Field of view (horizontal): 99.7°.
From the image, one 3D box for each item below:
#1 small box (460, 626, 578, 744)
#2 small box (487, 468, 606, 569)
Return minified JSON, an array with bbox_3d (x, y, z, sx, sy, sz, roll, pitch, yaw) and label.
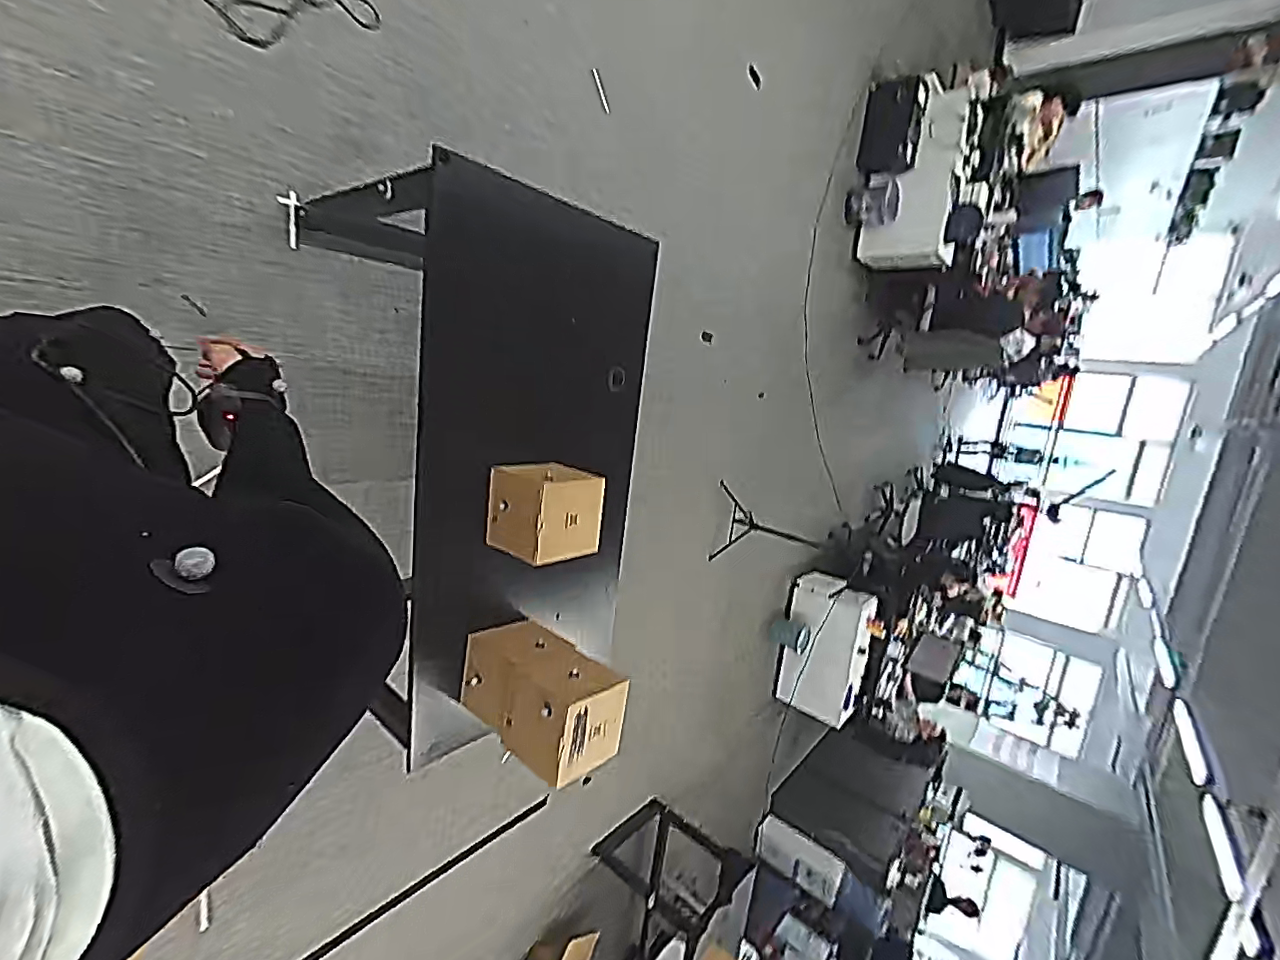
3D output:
[{"bbox_3d":[-0.265,0.437,1.189,0.179,0.176,0.168,2,100,-51],"label":"small box"},{"bbox_3d":[-0.199,0.072,1.153,0.179,0.176,0.168,-6,107,-50],"label":"small box"}]
